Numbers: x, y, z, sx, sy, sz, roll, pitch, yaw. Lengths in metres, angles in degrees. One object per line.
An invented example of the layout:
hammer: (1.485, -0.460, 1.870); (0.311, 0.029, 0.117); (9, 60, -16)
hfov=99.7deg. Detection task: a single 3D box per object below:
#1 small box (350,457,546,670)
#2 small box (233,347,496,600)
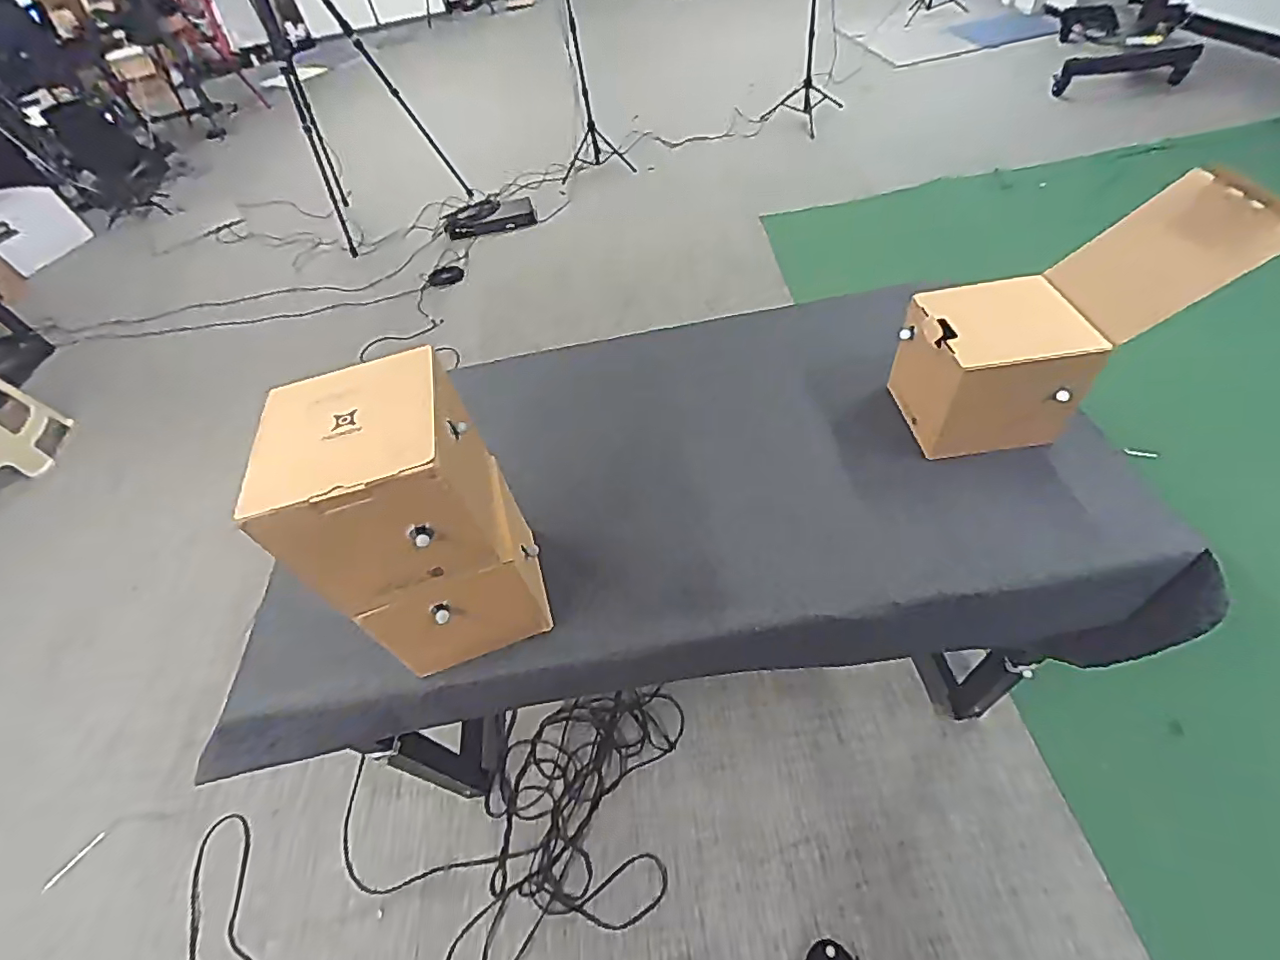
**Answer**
small box: (-0.225, 0.106, 0.666); (0.179, 0.176, 0.168); (-19, 50, -5)
small box: (-0.254, 0.001, 0.545); (0.168, 0.176, 0.179); (-17, 48, -5)
